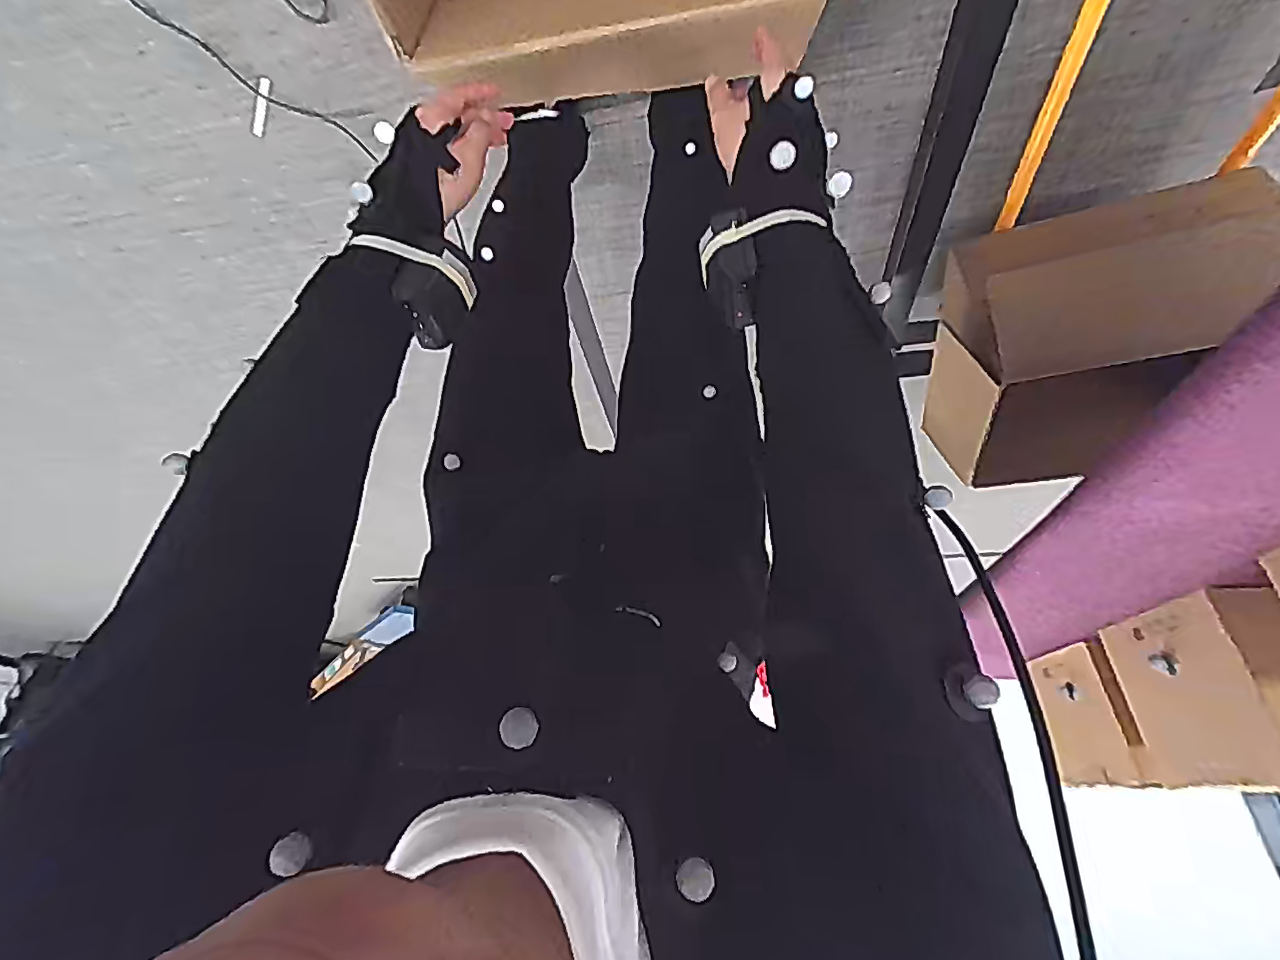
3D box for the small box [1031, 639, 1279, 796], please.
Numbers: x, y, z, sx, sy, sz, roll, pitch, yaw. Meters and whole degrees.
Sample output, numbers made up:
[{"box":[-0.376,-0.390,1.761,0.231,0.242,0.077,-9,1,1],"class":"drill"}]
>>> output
[{"box":[0.661,0.307,0.699,0.179,0.176,0.168,-3,150,6],"class":"small box"}]
